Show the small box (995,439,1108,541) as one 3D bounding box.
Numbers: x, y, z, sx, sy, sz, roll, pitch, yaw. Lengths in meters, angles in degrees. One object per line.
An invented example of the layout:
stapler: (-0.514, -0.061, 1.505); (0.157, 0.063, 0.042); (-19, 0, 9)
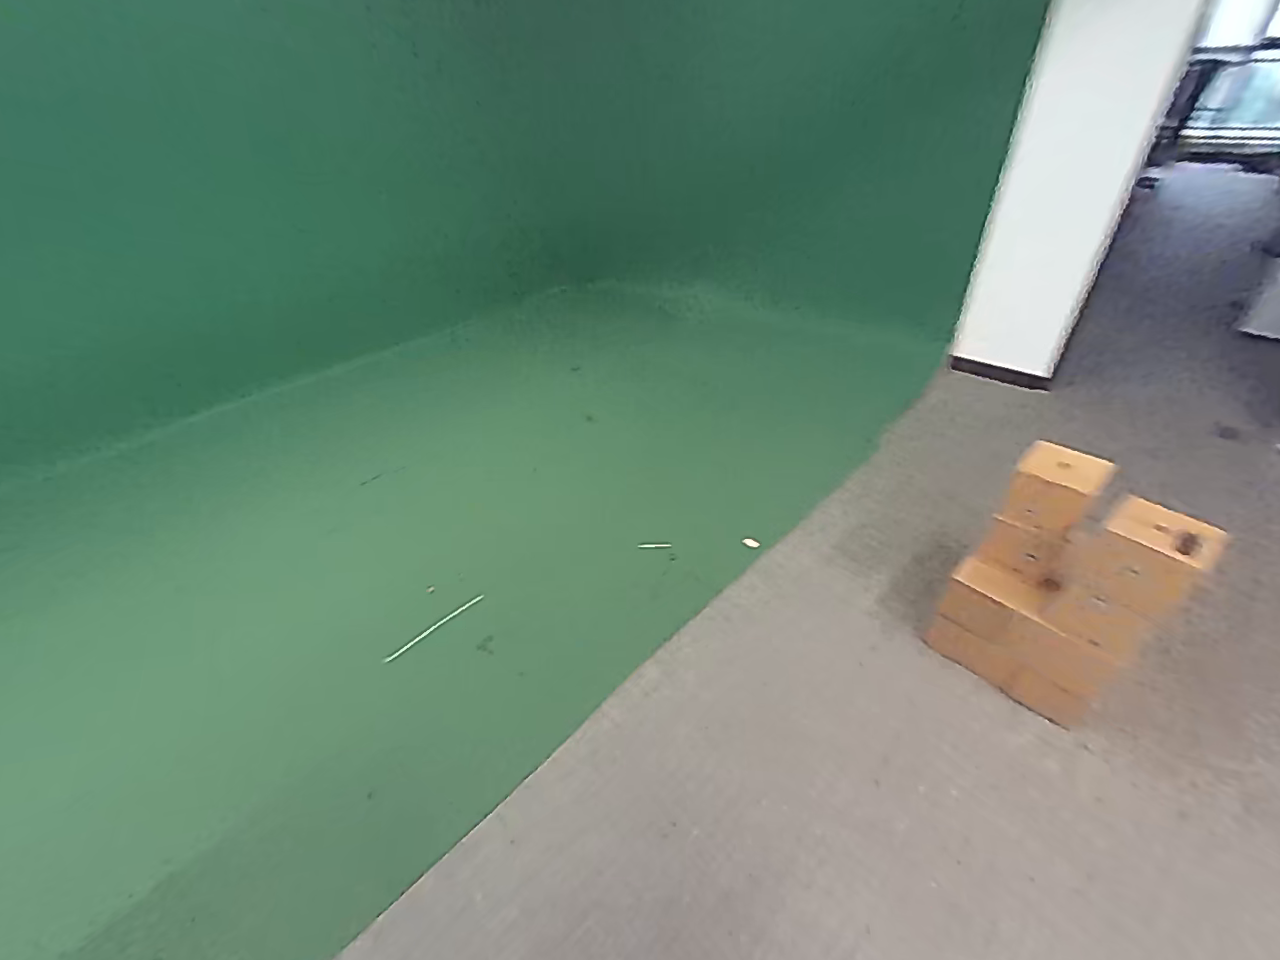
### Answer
small box: (1.064, 0.024, 1.410); (0.179, 0.176, 0.168); (-32, 45, -29)

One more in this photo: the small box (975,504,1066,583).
small box: (1.069, 0.154, 1.510); (0.179, 0.176, 0.168); (-30, 44, -31)
